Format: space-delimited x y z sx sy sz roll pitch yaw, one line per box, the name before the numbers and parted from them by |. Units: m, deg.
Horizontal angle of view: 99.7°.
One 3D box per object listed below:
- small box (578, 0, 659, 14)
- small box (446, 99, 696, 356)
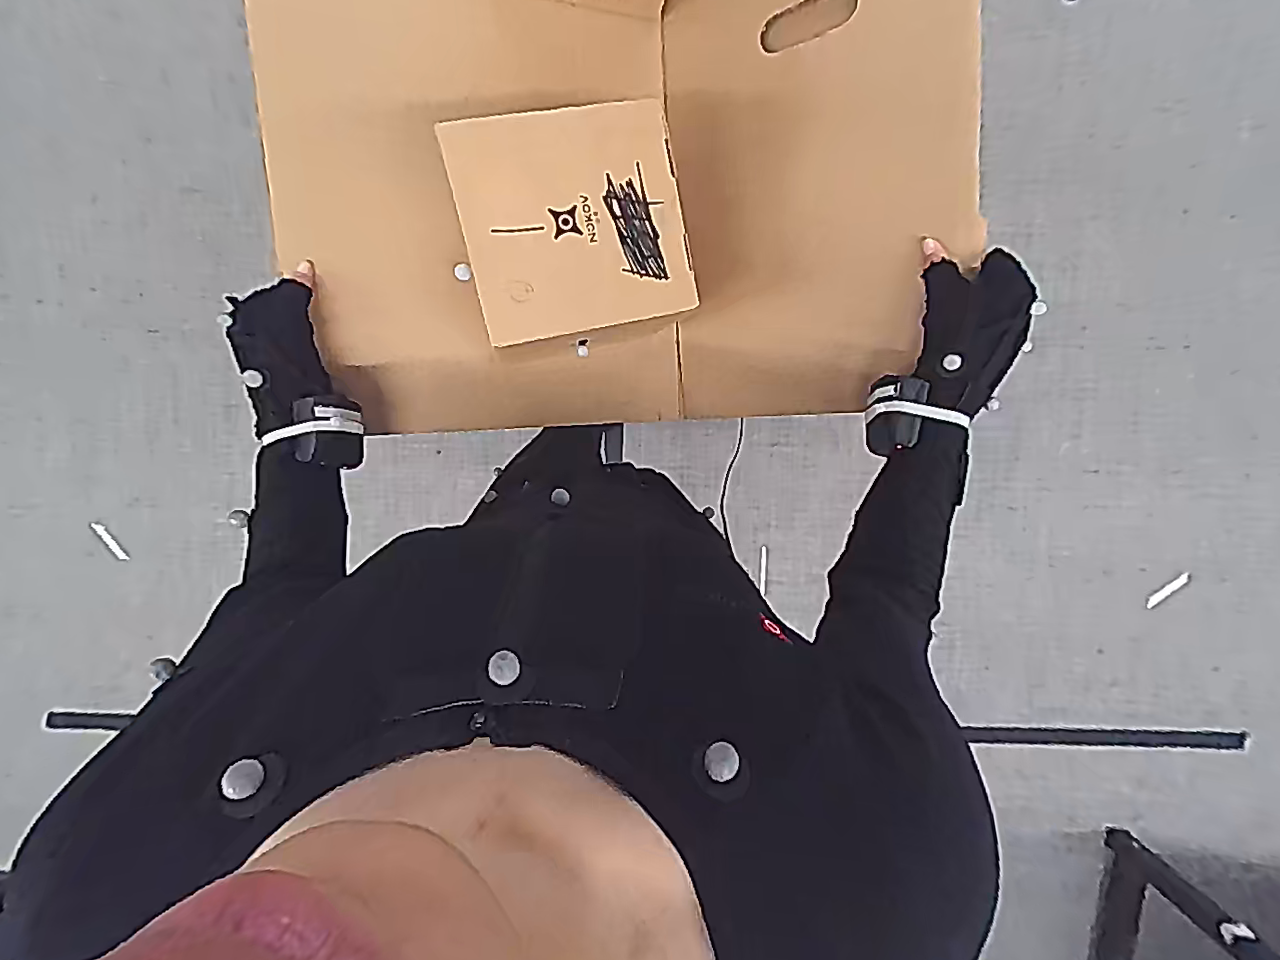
small box | -0.045 -0.568 0.479 0.179 0.176 0.168 1 96 -13
small box | -0.067 -0.220 0.512 0.179 0.176 0.168 -14 99 -10
